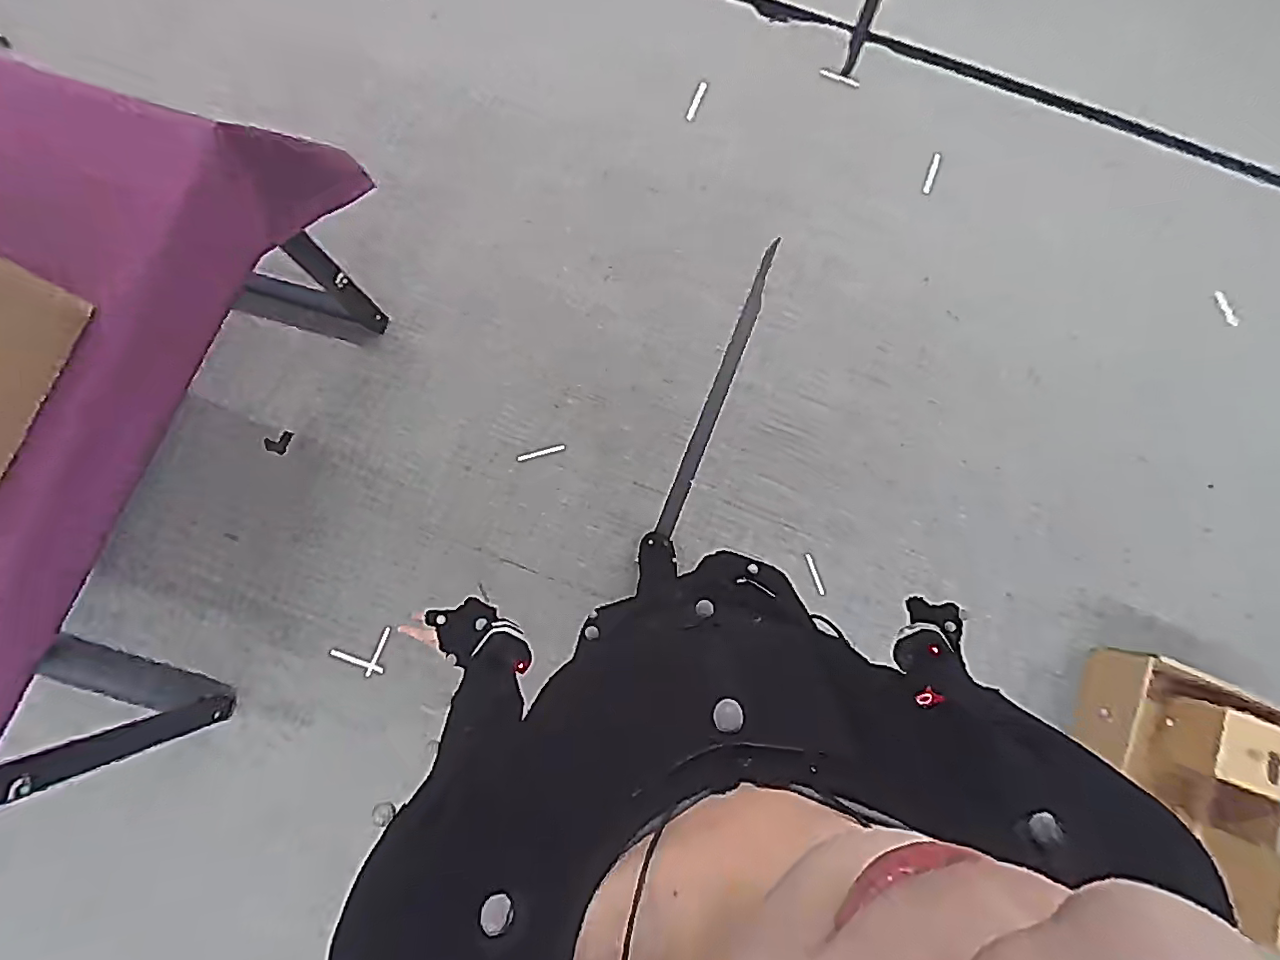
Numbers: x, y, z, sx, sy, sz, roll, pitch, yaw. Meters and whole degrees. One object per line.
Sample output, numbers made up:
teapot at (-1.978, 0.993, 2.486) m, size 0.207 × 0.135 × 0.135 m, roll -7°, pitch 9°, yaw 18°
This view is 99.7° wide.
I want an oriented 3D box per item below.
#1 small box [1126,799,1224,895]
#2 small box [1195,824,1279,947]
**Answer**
small box at (1.361, 0.919, 1.330) m, size 0.179 × 0.176 × 0.168 m, roll 23°, pitch 78°, yaw 4°
small box at (1.369, 0.894, 1.167) m, size 0.168 × 0.176 × 0.179 m, roll 24°, pitch 79°, yaw 1°
